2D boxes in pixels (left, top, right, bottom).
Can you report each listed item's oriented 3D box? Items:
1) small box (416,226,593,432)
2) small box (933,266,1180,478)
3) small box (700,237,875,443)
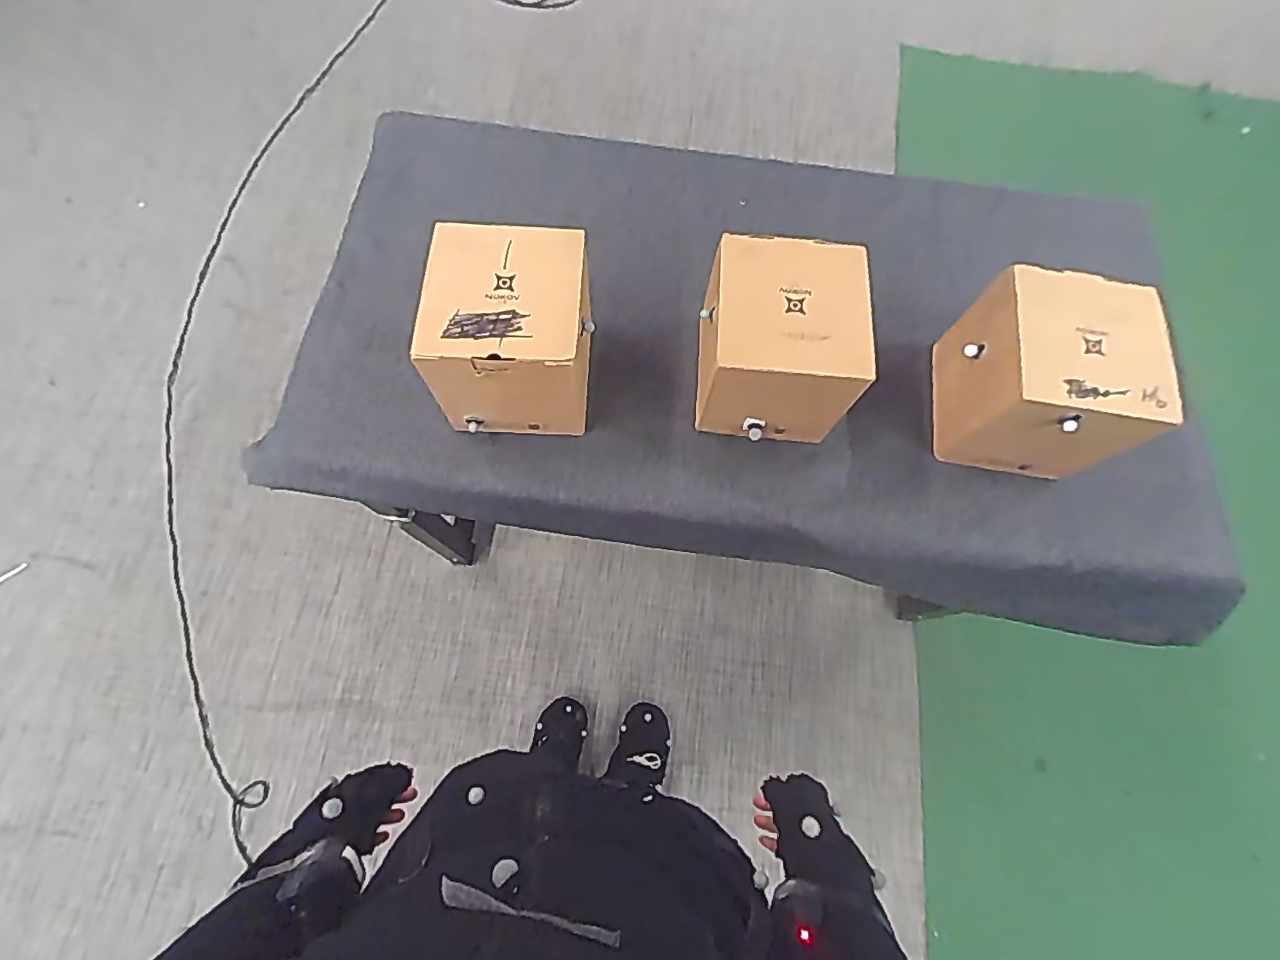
[{"bbox_3d":[-0.145,-0.169,0.646,0.168,0.176,0.179,2,68,-2],"label":"small box"},{"bbox_3d":[0.479,-0.122,0.655,0.168,0.176,0.179,9,69,2],"label":"small box"},{"bbox_3d":[0.165,-0.162,0.660,0.168,0.176,0.179,4,71,0],"label":"small box"}]
